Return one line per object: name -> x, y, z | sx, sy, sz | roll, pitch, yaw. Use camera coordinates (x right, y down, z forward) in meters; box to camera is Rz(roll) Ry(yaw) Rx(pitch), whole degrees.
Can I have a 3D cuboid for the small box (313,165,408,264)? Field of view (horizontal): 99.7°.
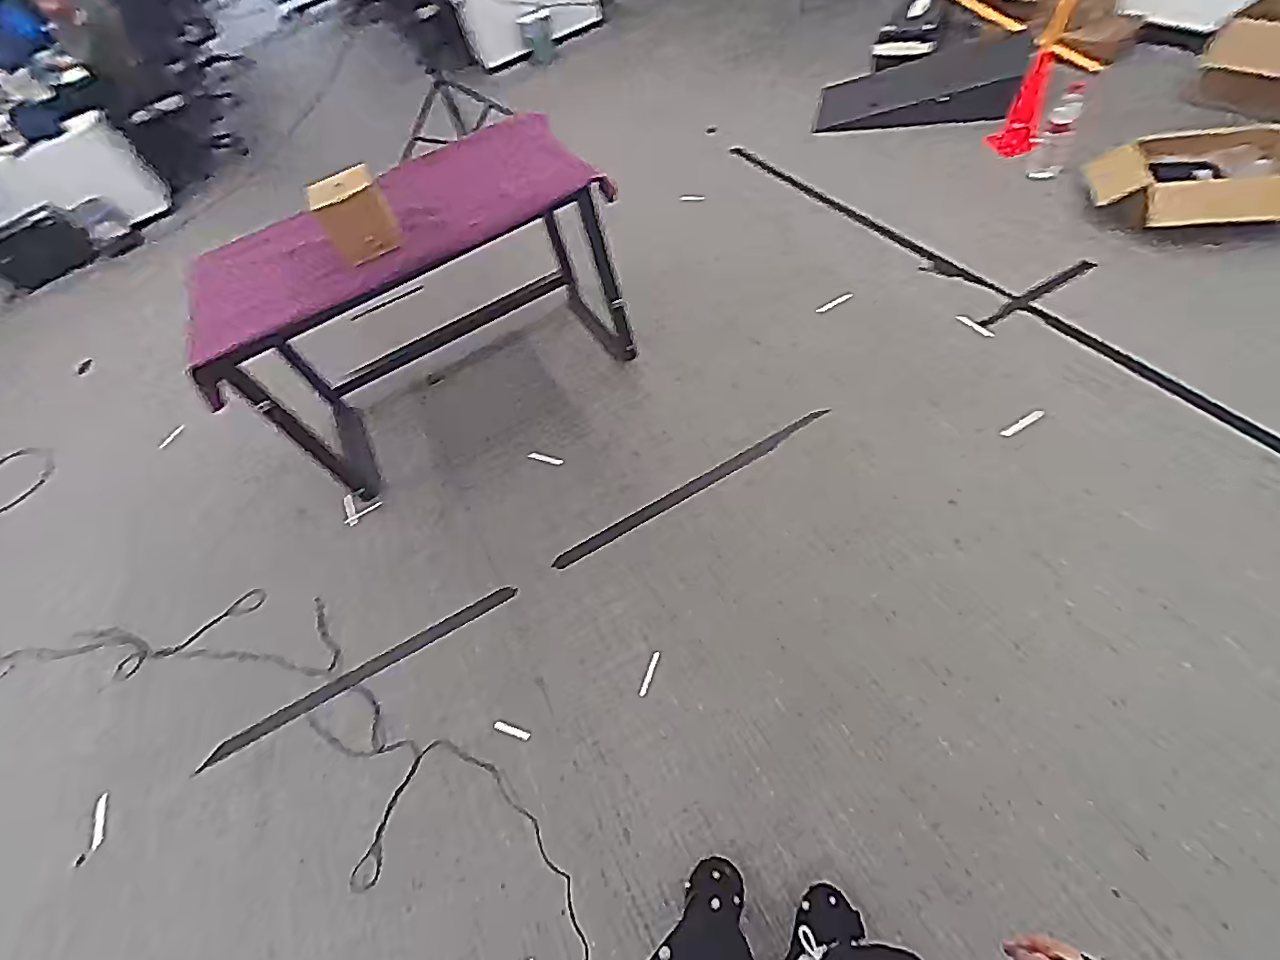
small box -> -0.779, -0.740, 1.513 | 0.168, 0.176, 0.179 | -28, 54, -5
